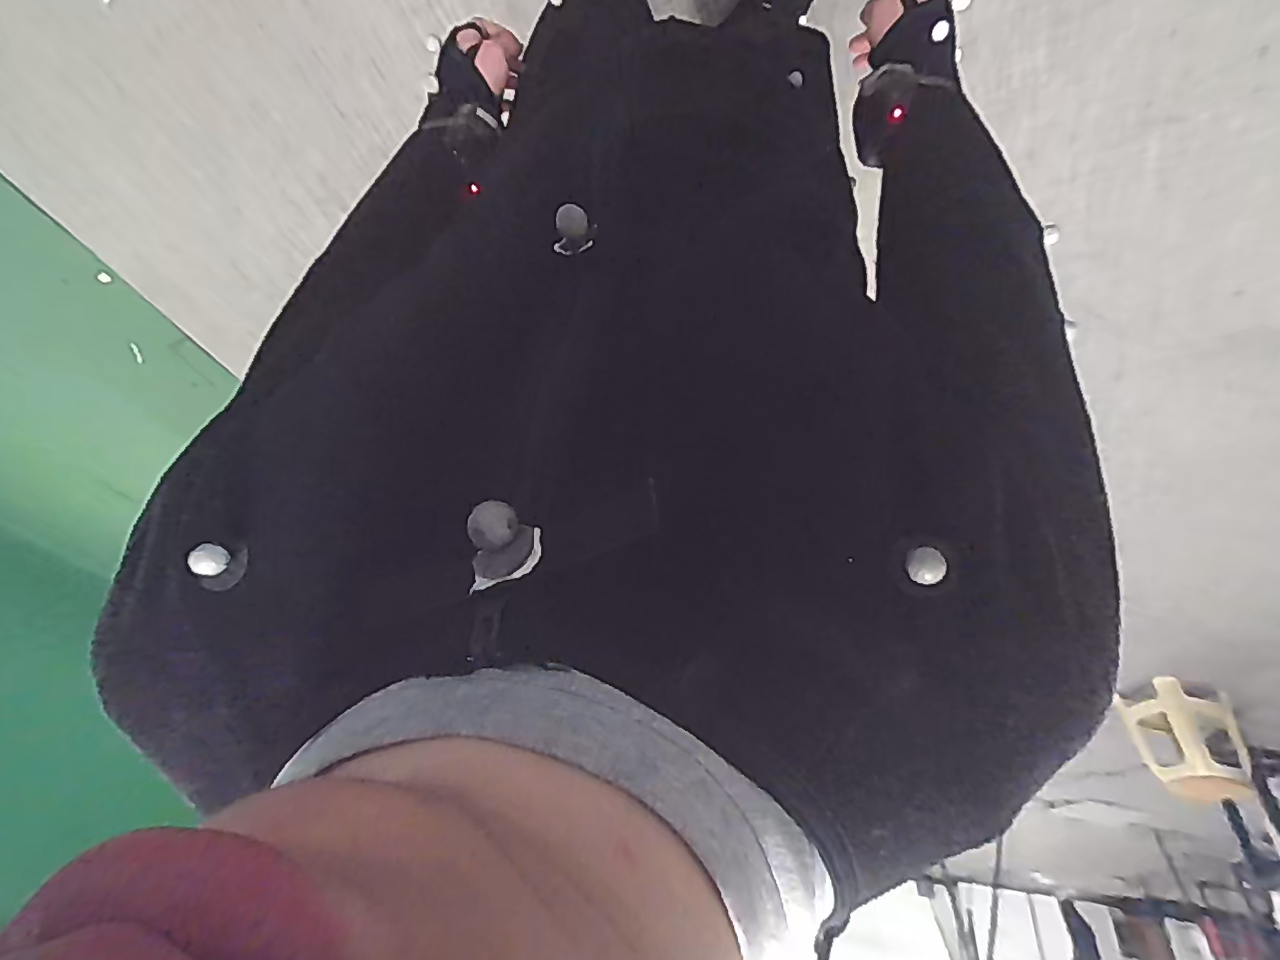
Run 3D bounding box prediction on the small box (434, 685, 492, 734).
[{"bbox_3d":[-0.816,1.067,2.519,0.179,0.176,0.168,-10,135,26],"label":"small box"}]
